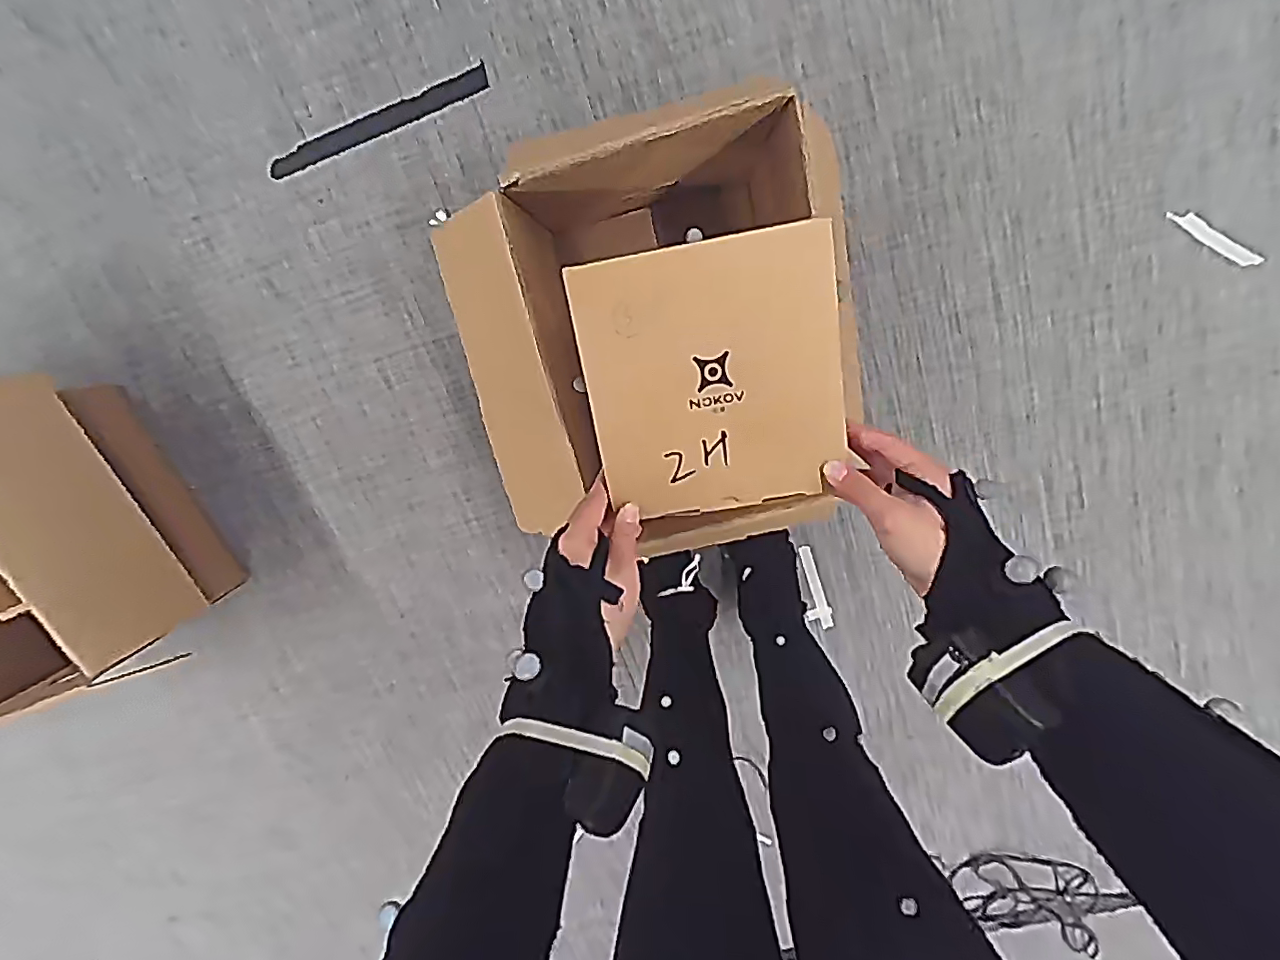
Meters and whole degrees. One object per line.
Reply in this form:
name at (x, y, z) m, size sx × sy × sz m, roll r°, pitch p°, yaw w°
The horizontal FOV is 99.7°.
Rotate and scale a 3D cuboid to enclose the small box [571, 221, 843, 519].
small box at (0.051, -0.088, 0.436) m, size 0.168 × 0.176 × 0.179 m, roll -9°, pitch 107°, yaw 6°
